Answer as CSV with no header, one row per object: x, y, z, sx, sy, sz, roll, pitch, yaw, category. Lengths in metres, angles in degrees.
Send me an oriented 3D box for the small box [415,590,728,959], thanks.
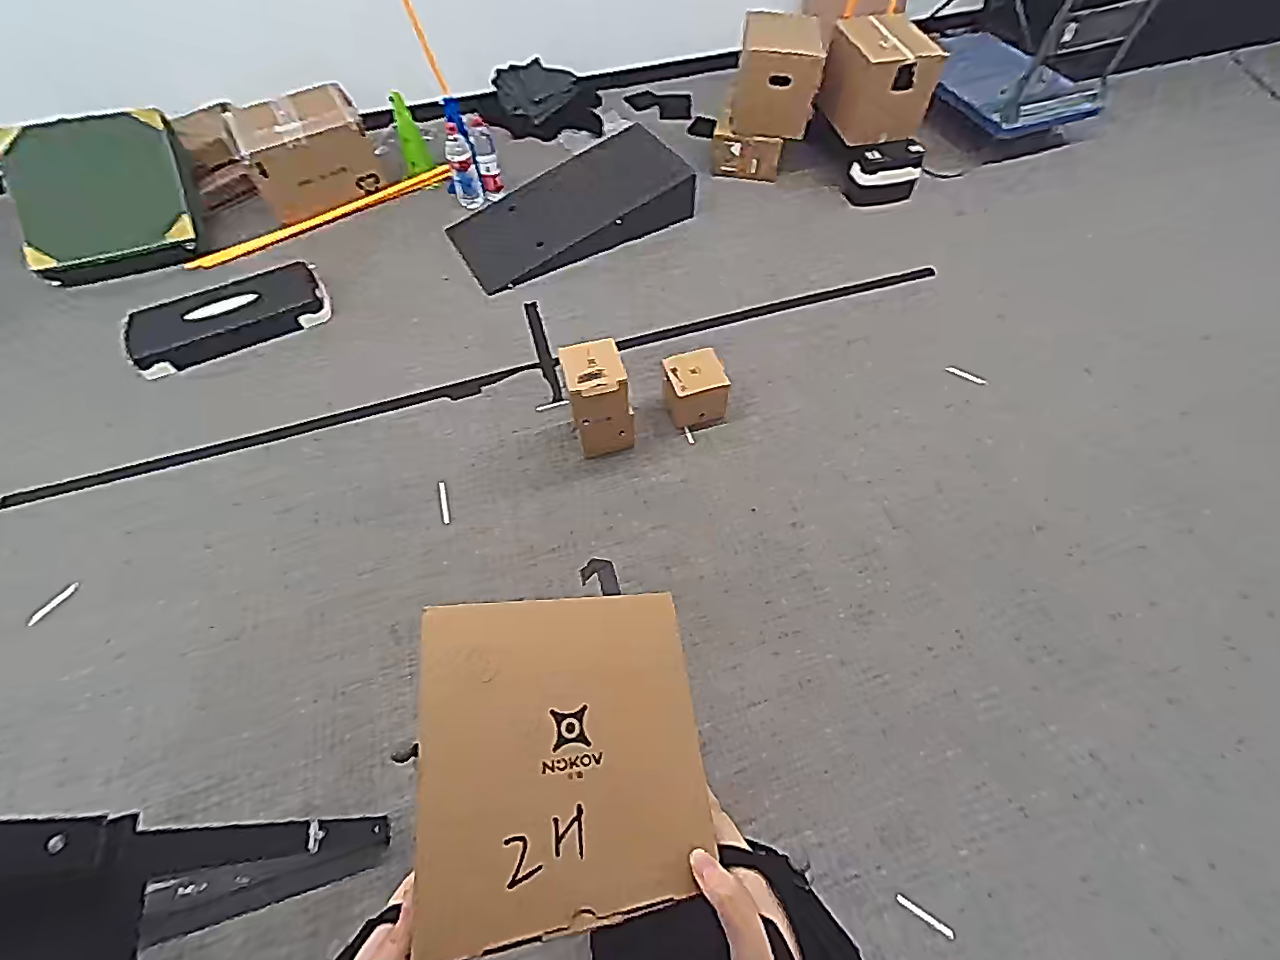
-0.063,0.187,0.378,0.168,0.176,0.179,3,61,-20,small box

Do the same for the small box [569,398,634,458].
-0.126,-0.194,1.709,0.179,0.176,0.168,-16,59,-9,small box

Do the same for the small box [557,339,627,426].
-0.136,-0.275,1.566,0.168,0.176,0.179,-13,58,-8,small box

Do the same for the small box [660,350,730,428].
0.173,-0.294,1.766,0.179,0.176,0.168,-15,59,-9,small box
